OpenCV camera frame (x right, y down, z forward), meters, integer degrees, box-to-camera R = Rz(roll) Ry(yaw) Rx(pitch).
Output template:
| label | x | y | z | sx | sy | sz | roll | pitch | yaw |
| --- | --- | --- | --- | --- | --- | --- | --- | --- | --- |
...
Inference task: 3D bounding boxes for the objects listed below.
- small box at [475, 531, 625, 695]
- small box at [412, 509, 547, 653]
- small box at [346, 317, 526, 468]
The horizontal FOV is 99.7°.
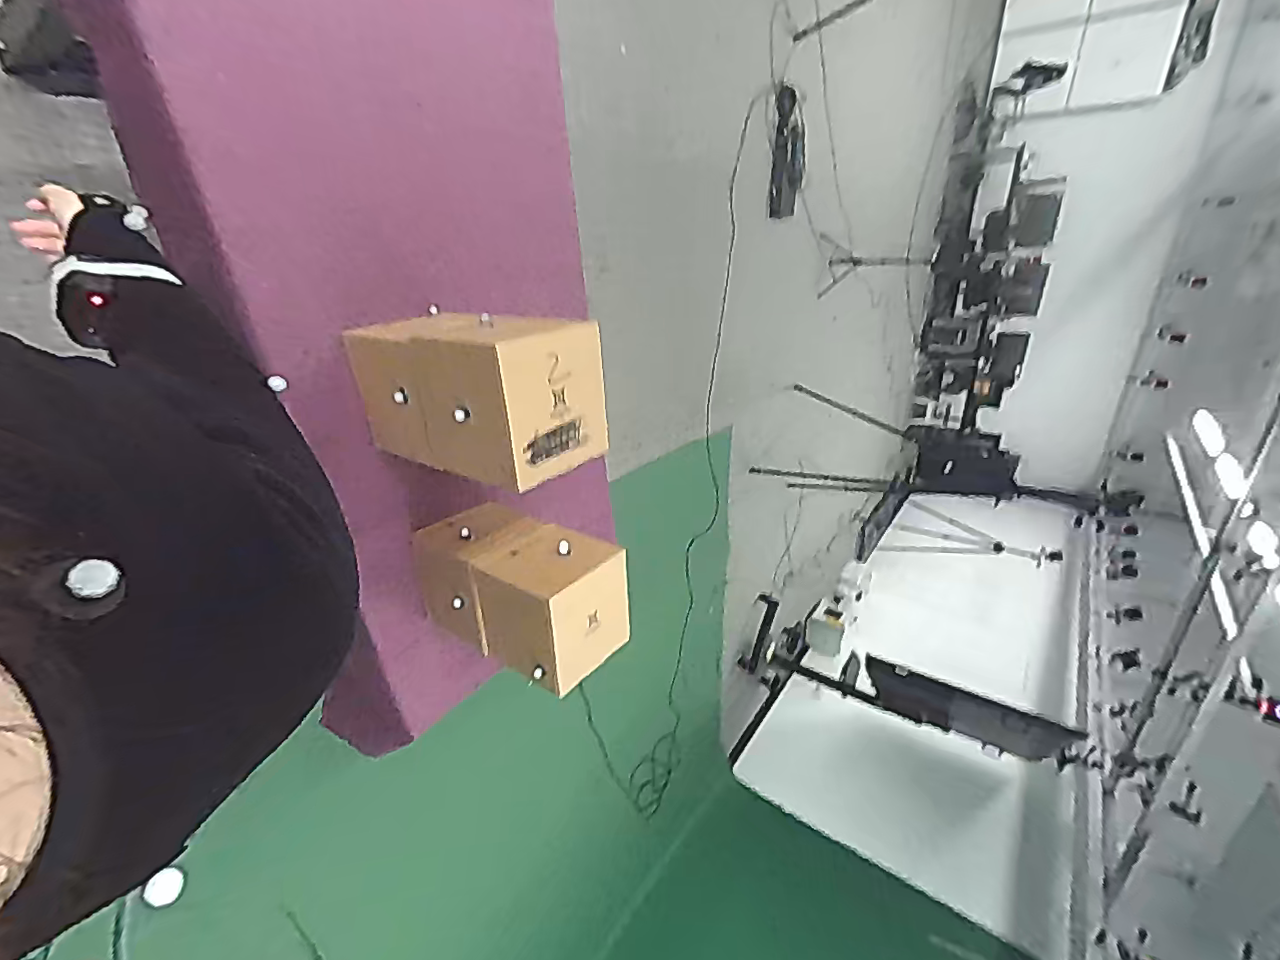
| label | x | y | z | sx | sy | sz | roll | pitch | yaw |
| --- | --- | --- | --- | --- | --- | --- | --- | --- | --- |
| small box | -0.141 | 0.195 | 0.857 | 0.168 | 0.176 | 0.179 | -28 | 125 | -46 |
| small box | -0.274 | 0.162 | 0.945 | 0.168 | 0.176 | 0.179 | -25 | 123 | -47 |
| small box | -0.297 | -0.139 | 0.795 | 0.168 | 0.176 | 0.179 | -33 | 129 | -44 |
